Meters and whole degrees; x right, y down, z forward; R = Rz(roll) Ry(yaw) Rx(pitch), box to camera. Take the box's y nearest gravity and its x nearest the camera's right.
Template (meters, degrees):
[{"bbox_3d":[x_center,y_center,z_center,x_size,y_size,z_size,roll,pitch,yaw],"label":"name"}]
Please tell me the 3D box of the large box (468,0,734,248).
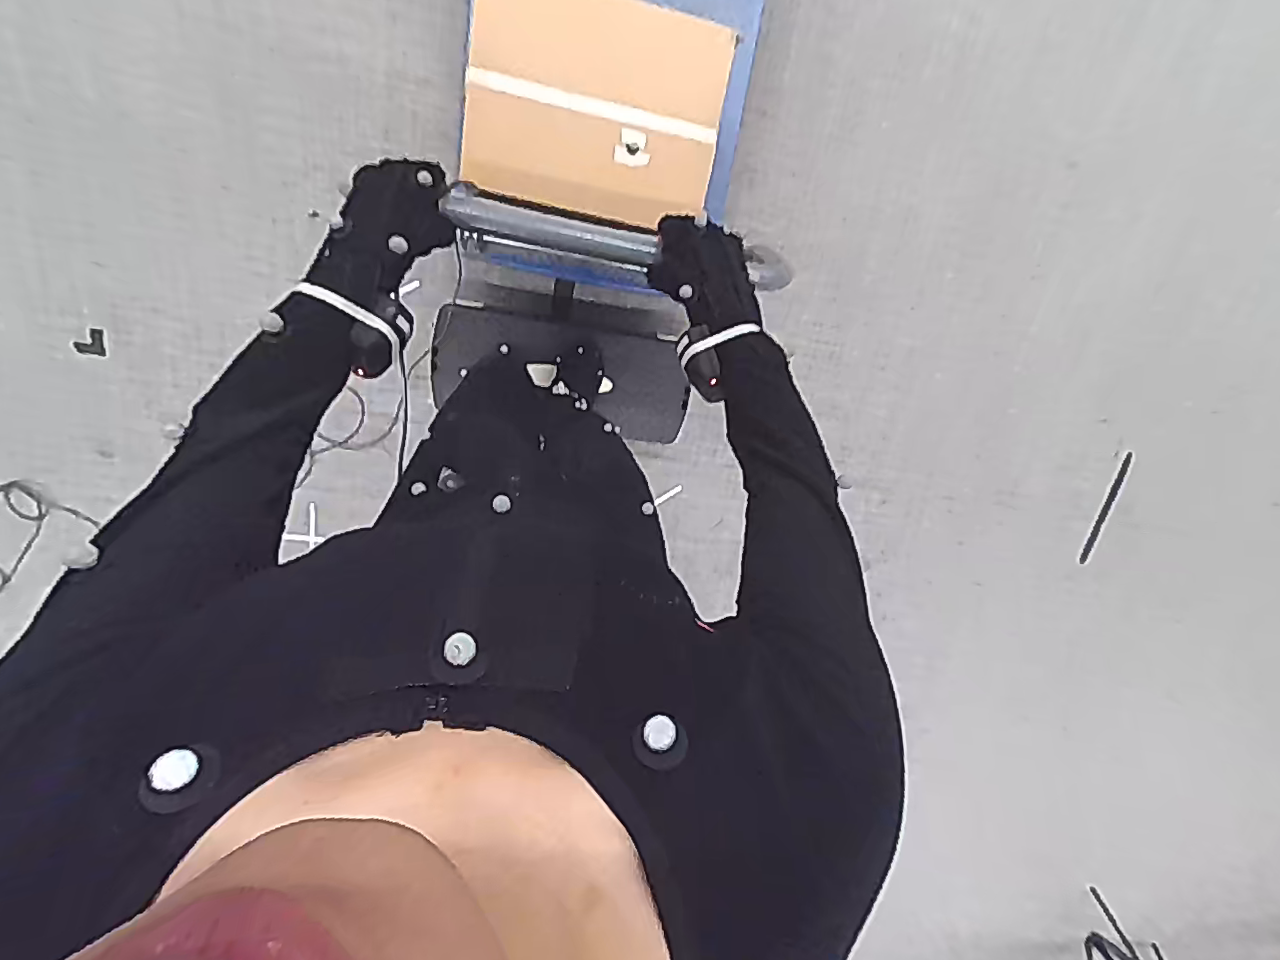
[{"bbox_3d":[-0.086,-0.655,1.024,0.408,0.320,0.320,8,107,-10],"label":"large box"}]
